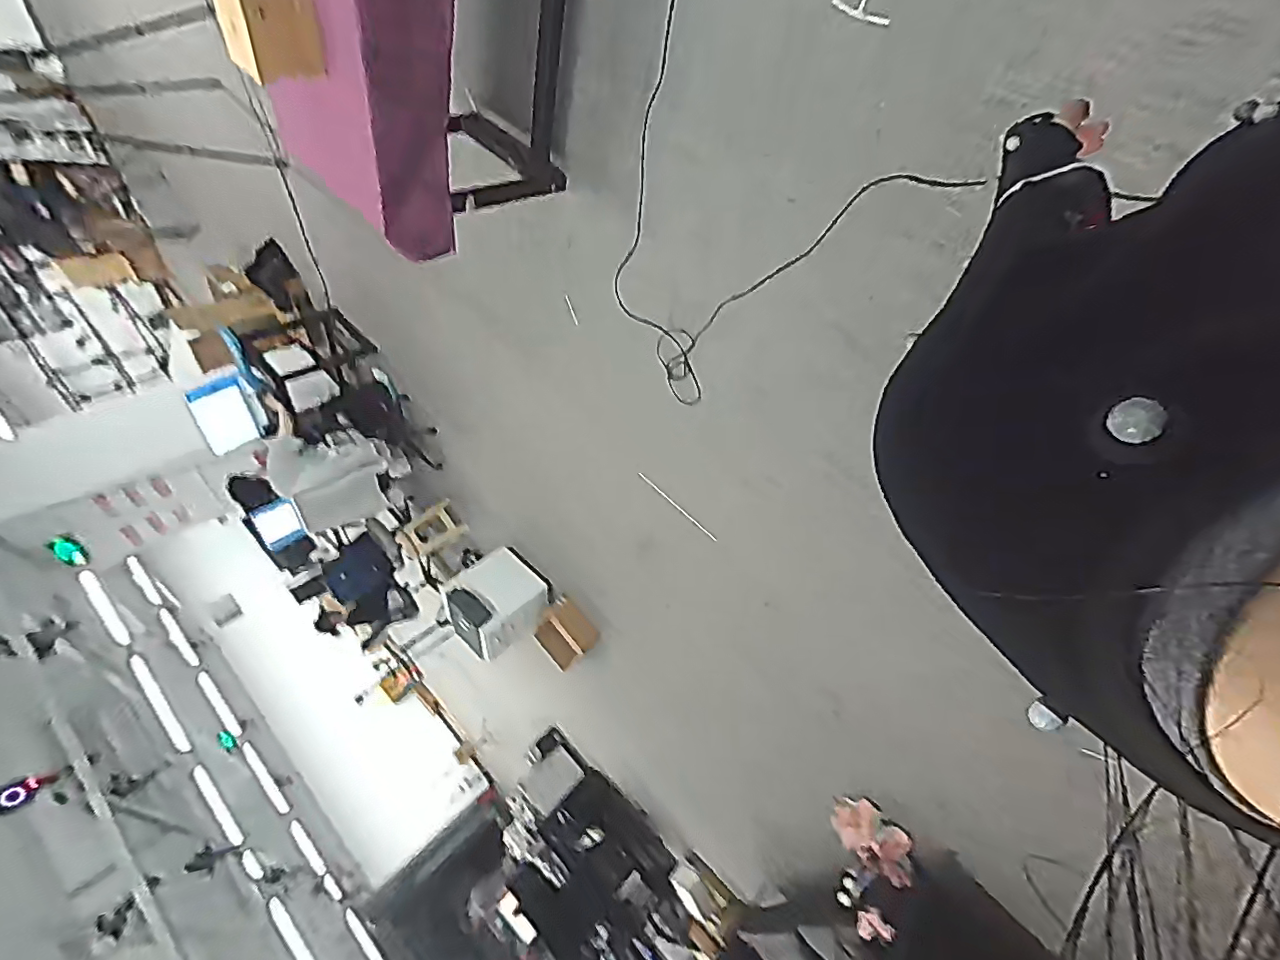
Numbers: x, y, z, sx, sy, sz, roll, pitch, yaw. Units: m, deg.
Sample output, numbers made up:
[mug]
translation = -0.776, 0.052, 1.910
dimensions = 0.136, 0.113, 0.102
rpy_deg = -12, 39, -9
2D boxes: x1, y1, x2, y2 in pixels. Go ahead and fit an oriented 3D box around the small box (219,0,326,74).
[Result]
[small box]
translation = -0.904, -1.135, 1.331
dimensions = 0.168, 0.176, 0.179
rpy_deg = 41, 141, 19
